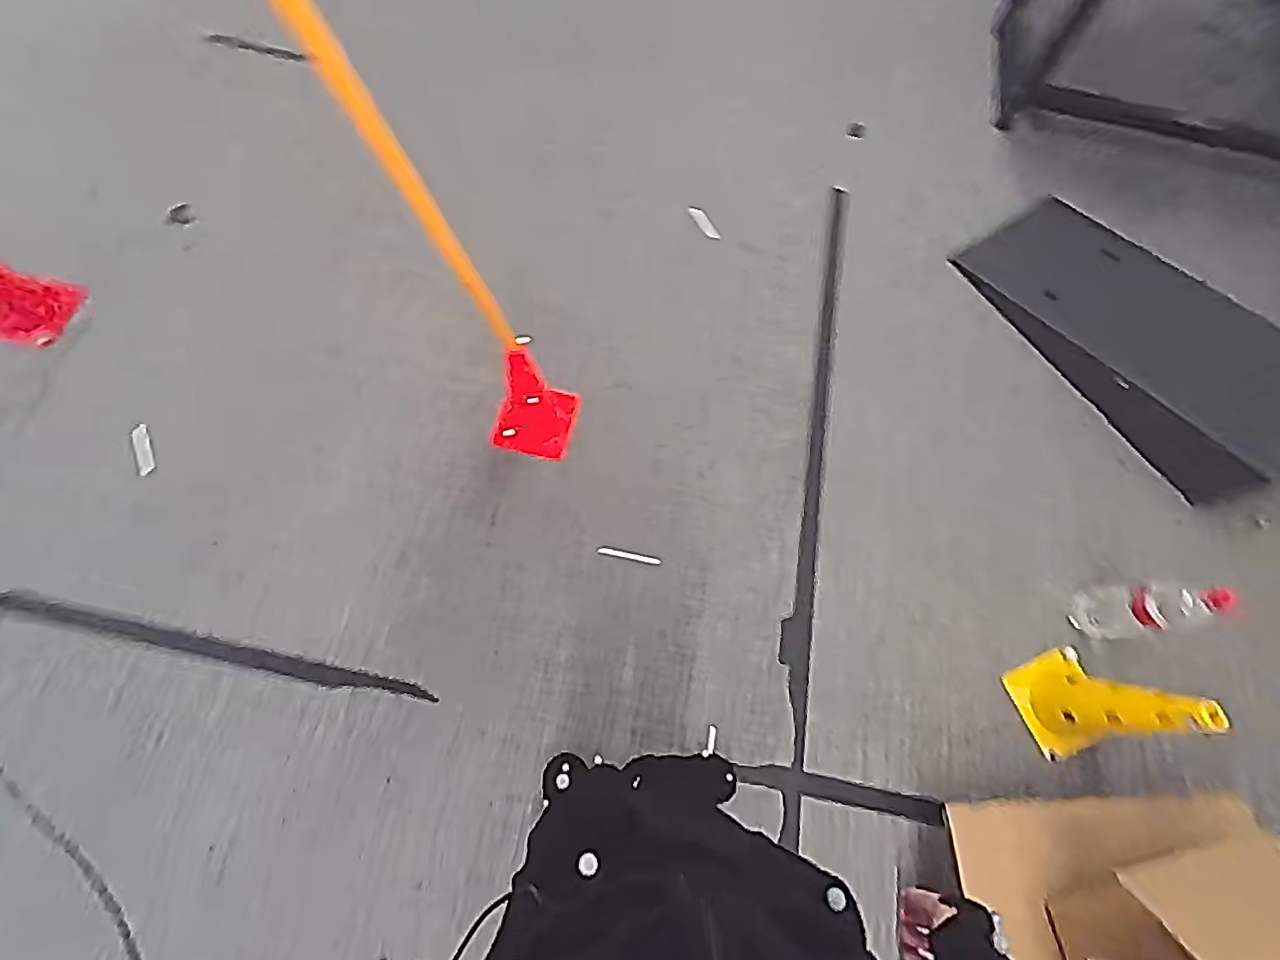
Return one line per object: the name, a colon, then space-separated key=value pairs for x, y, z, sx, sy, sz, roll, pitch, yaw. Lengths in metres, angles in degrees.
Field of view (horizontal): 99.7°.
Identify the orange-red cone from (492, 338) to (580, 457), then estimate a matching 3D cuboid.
orange-red cone: x=-0.266 y=-0.221 z=1.277 sx=0.199 sy=0.360 sz=0.198 roll=16 pitch=71 yaw=2
